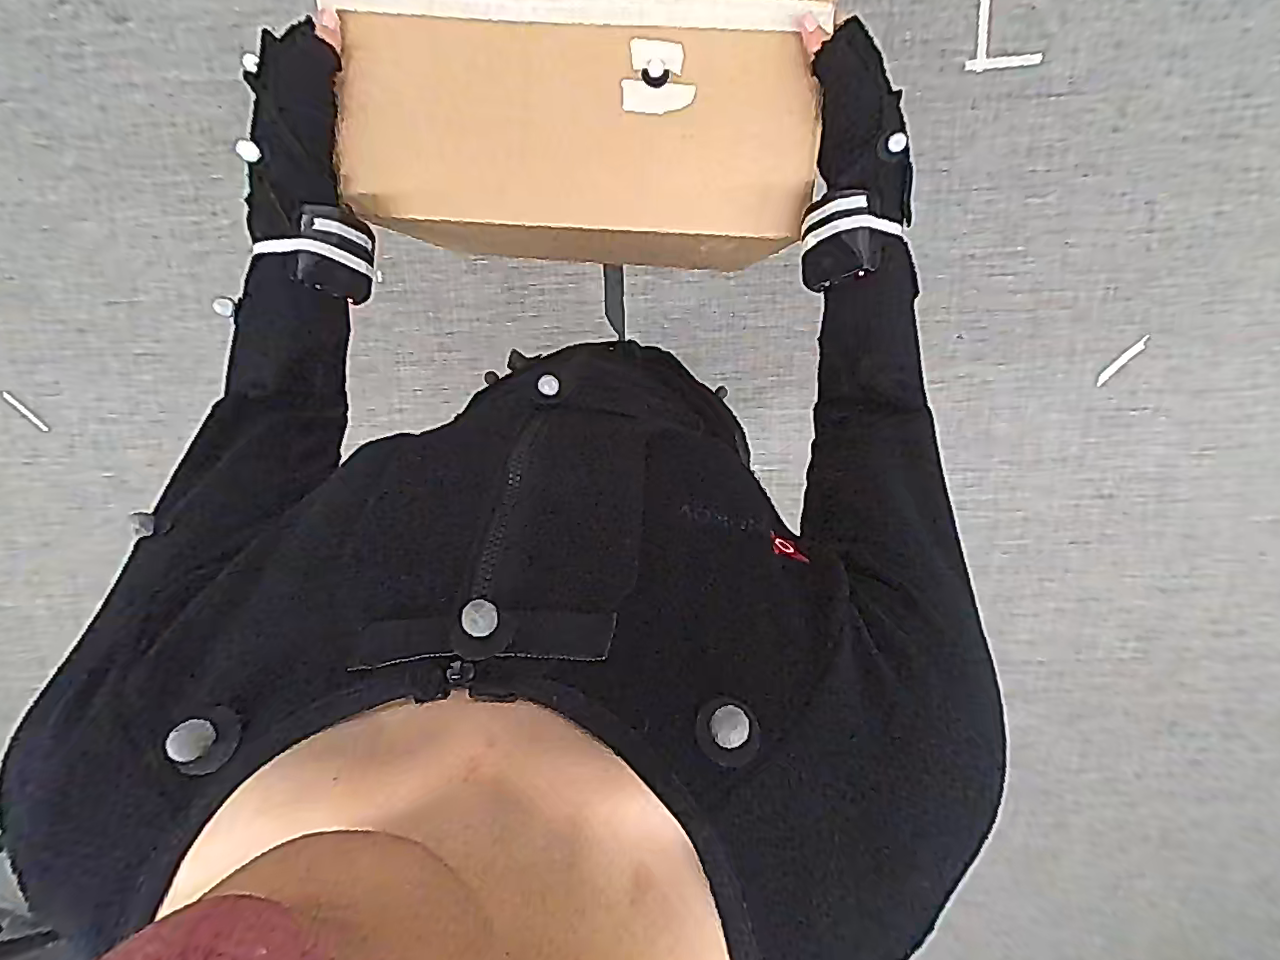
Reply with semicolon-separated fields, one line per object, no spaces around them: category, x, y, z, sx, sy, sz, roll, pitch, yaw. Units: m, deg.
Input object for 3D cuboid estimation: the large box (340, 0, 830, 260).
large box;-0.047;-0.421;0.580;0.408;0.320;0.320;2;108;-1
